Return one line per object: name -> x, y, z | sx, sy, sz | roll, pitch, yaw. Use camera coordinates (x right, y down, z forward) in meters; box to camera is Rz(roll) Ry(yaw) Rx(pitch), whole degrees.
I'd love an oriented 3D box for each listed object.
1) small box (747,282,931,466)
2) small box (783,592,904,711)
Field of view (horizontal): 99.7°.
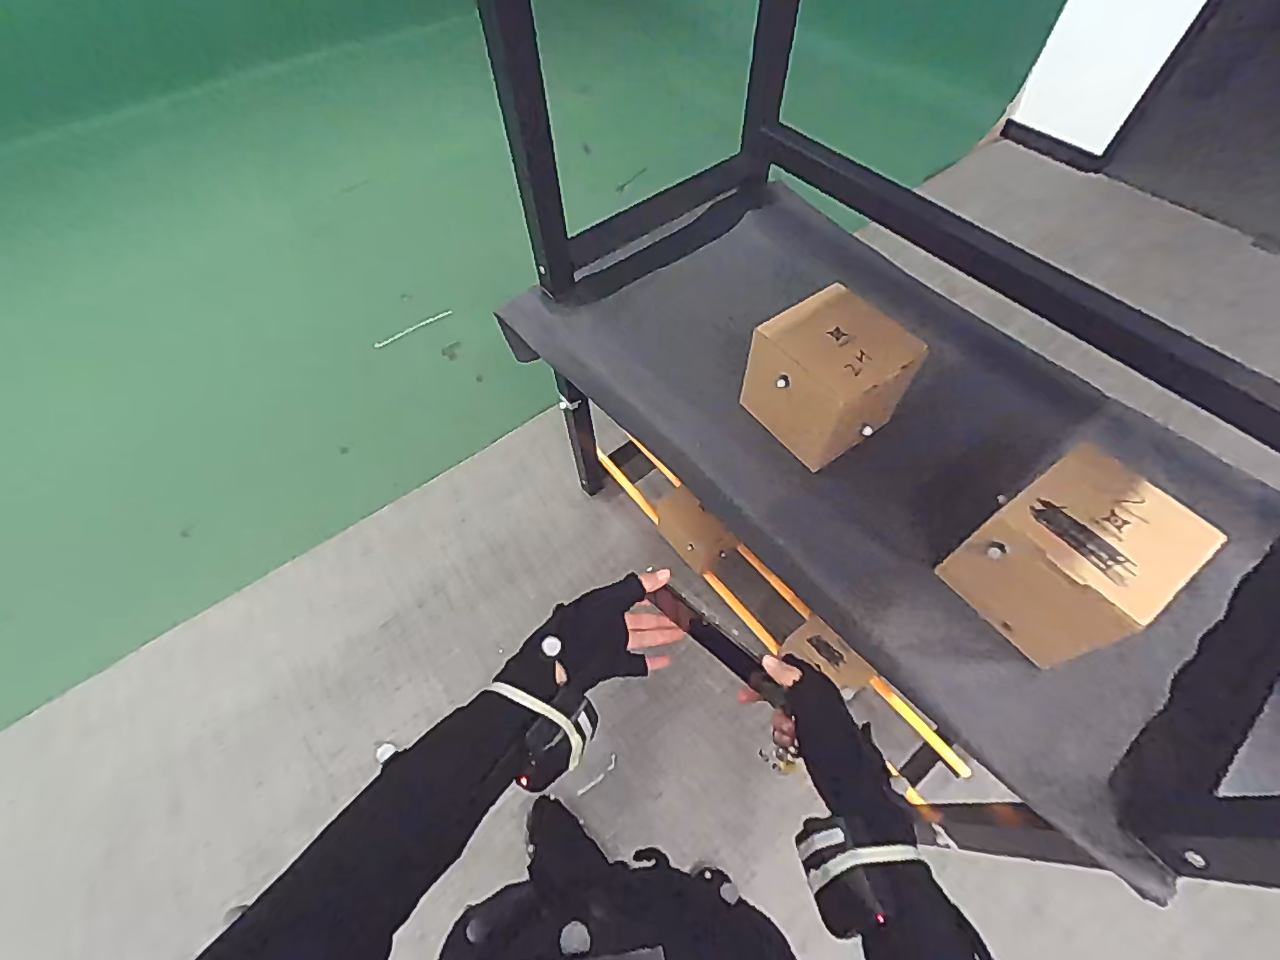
small box -> 0.280, -0.154, 0.808 | 0.168, 0.176, 0.179 | -32, 62, -16
small box -> 0.438, 0.387, 1.202 | 0.179, 0.176, 0.168 | -32, 63, -16
